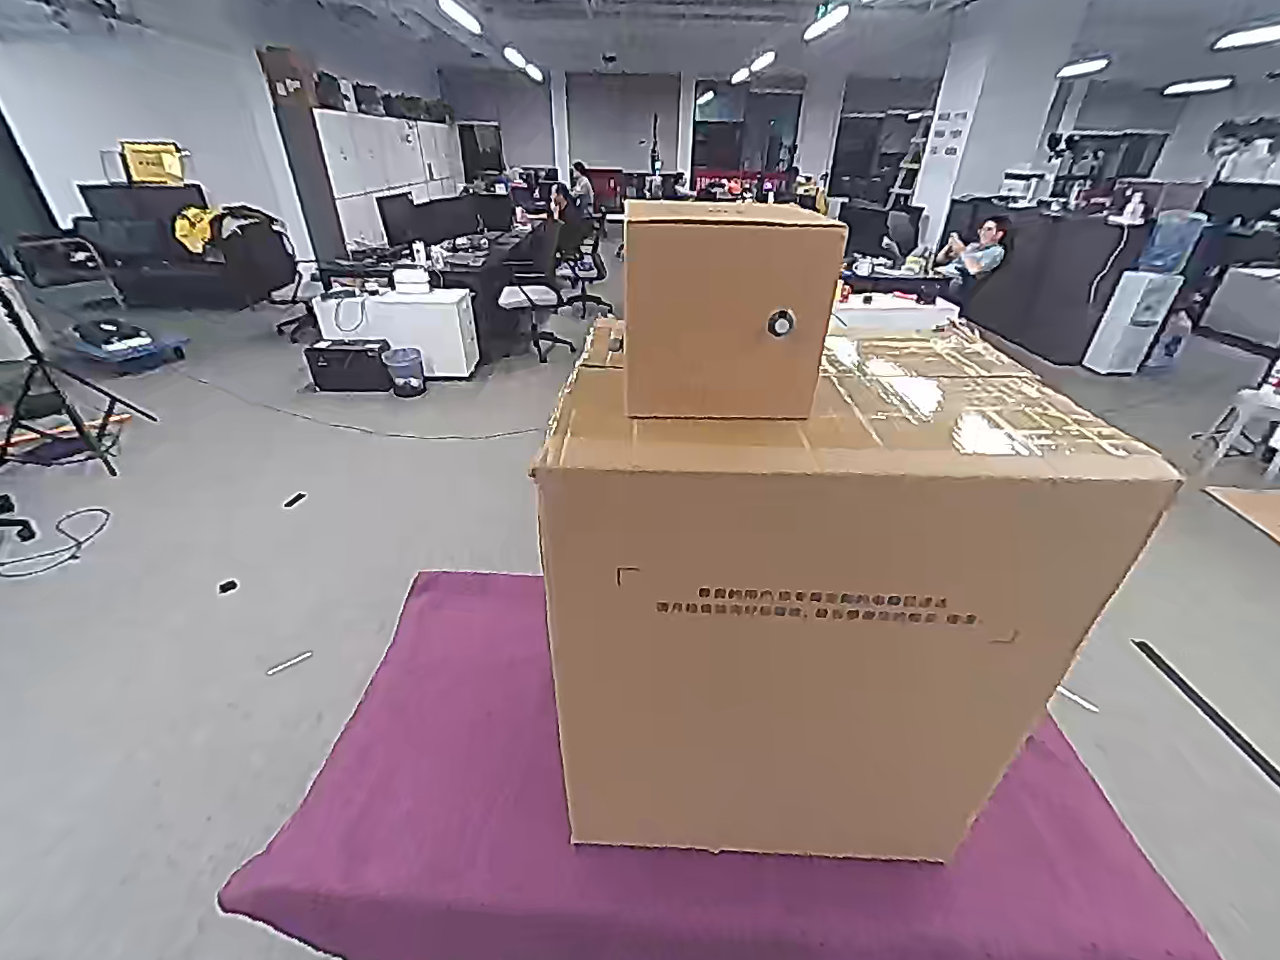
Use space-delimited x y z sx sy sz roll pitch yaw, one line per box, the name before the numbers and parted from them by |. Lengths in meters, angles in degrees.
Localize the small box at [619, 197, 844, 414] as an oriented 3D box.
small box | 0.069 -0.170 0.523 0.179 0.176 0.168 -1 31 -2
